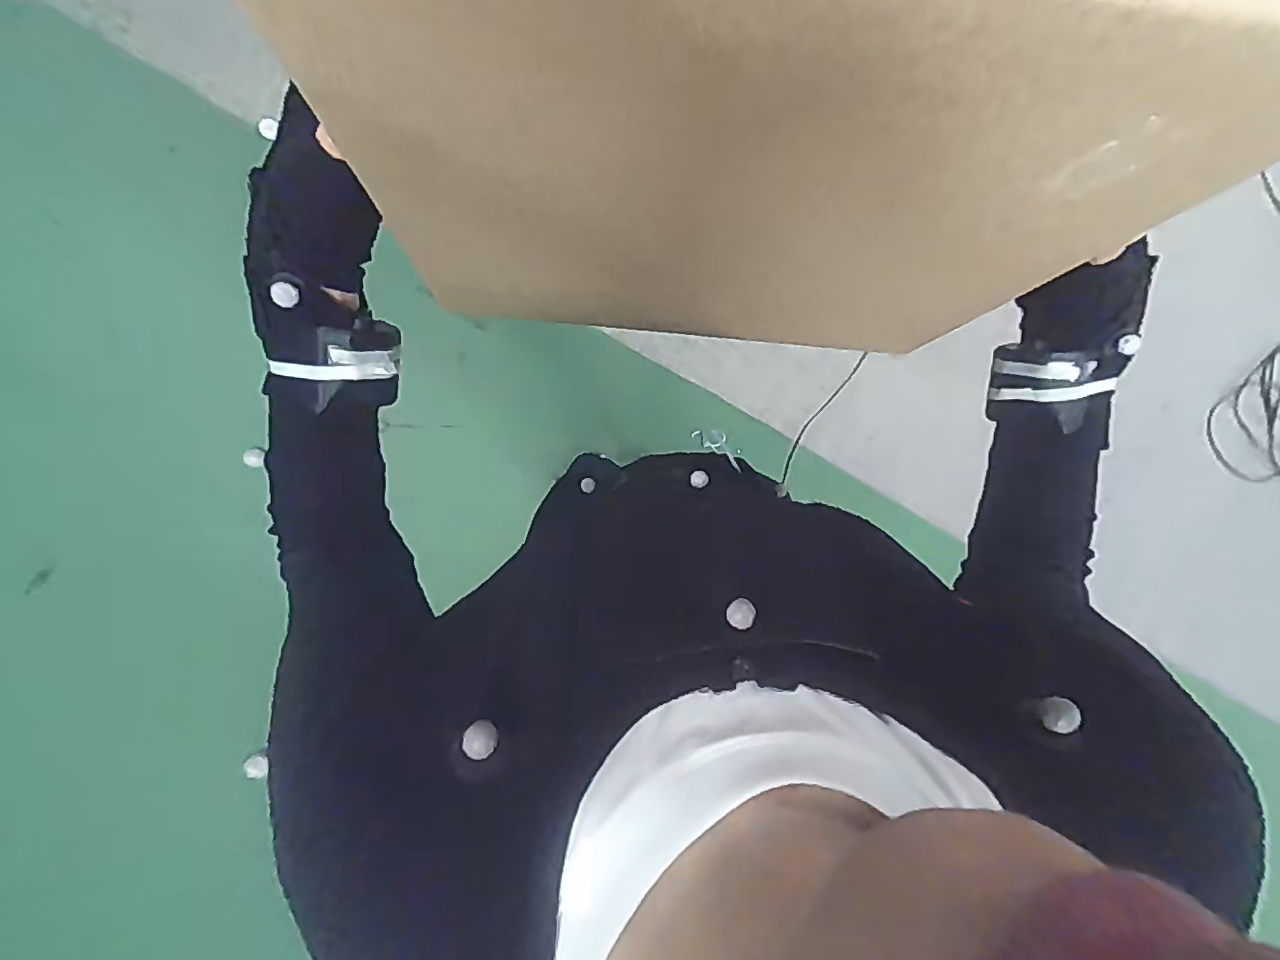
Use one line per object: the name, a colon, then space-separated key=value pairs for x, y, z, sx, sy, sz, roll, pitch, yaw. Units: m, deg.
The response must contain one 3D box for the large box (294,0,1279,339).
large box: x=0.066 y=-0.296 z=0.324 sx=0.408 sy=0.320 sz=0.320 roll=4 pitch=86 yaw=-7
